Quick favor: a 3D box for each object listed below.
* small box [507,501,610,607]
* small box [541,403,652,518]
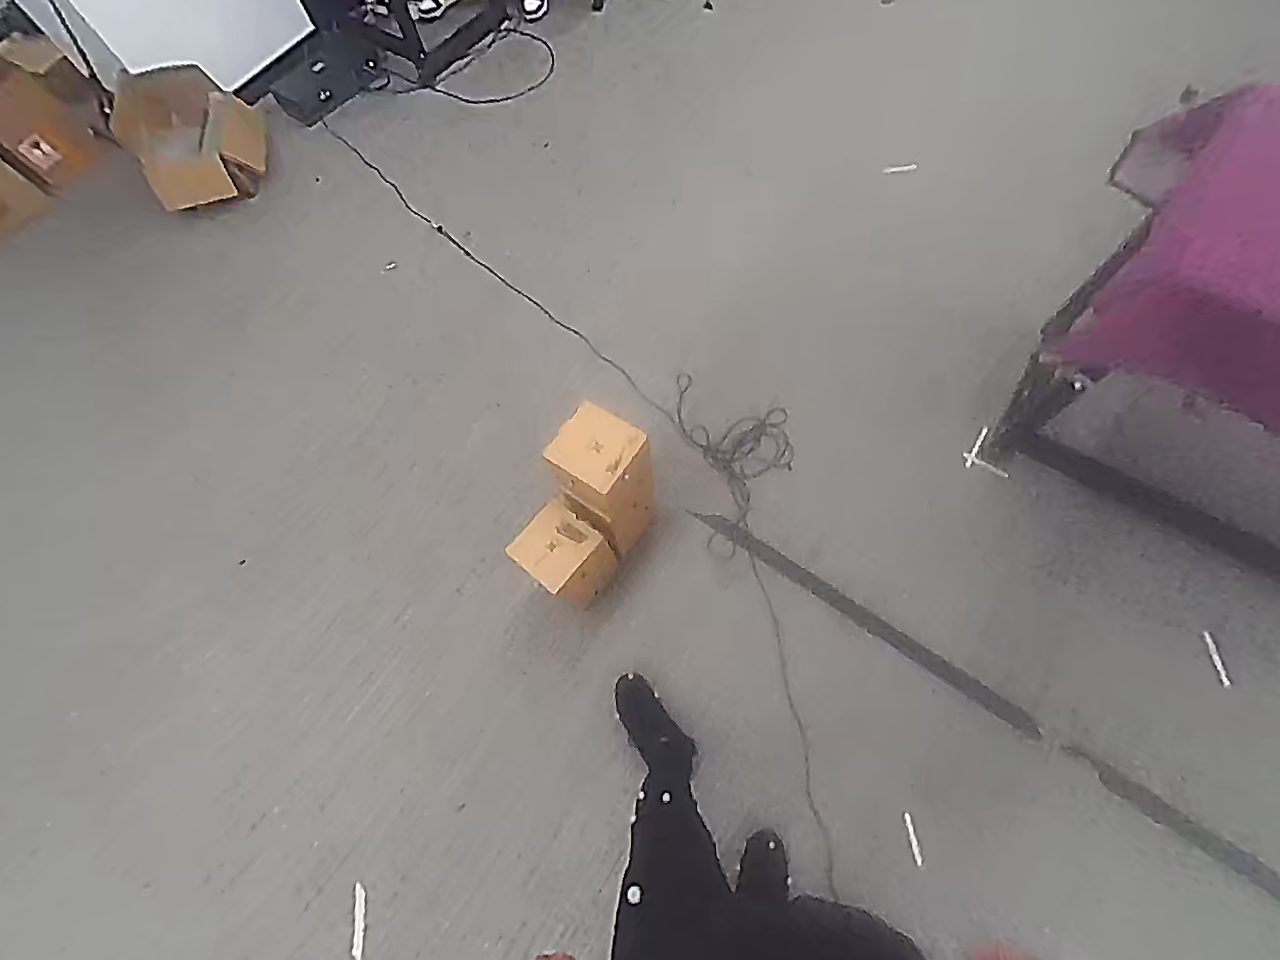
[{"bbox_3d":[-0.189,0.186,1.324,0.168,0.176,0.179,36,77,18],"label":"small box"},{"bbox_3d":[-0.090,-0.038,1.227,0.179,0.176,0.168,31,75,17],"label":"small box"}]
